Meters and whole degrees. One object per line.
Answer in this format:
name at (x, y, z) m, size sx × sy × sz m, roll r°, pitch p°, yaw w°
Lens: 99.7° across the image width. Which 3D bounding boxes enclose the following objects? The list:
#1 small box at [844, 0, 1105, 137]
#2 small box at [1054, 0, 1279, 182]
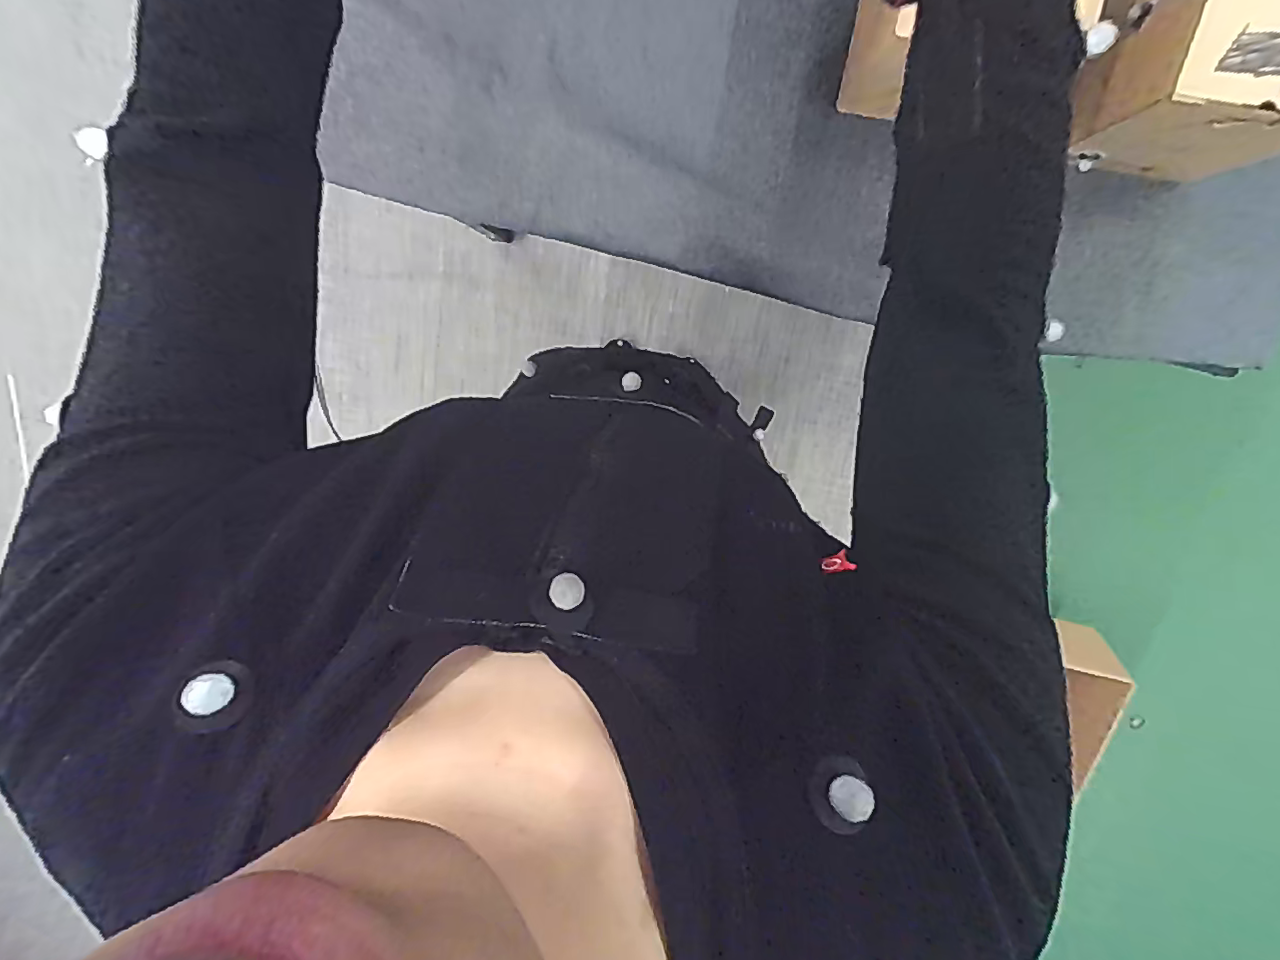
small box at (0.312, -0.459, 0.515) m, size 0.168 × 0.176 × 0.179 m, roll 10°, pitch 104°, yaw 0°
small box at (0.547, -0.408, 0.514) m, size 0.168 × 0.176 × 0.179 m, roll 9°, pitch 104°, yaw 0°
